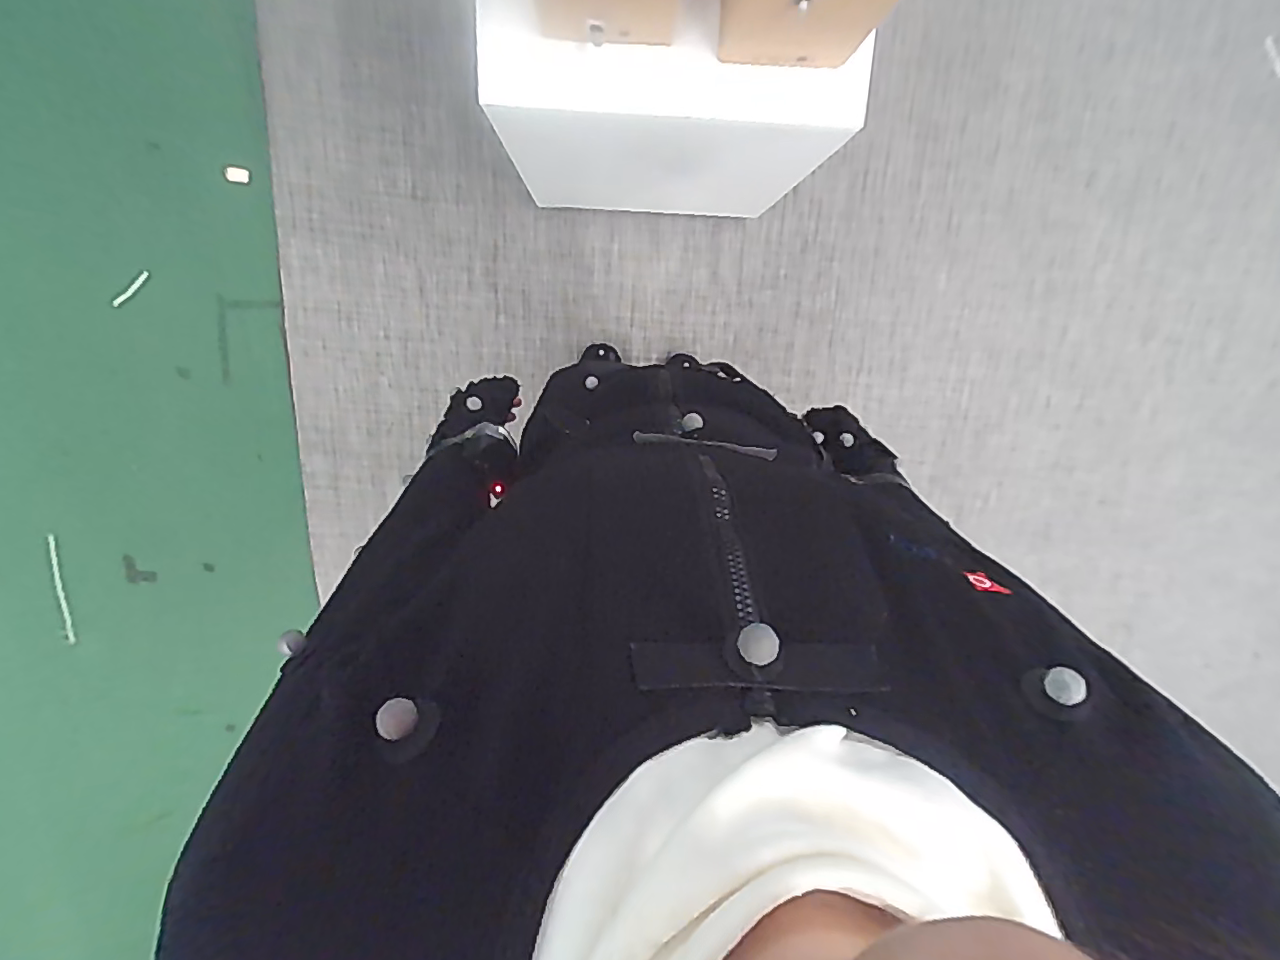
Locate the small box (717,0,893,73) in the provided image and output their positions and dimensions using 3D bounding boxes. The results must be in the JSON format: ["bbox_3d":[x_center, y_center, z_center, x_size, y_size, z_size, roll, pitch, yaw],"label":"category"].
[{"bbox_3d":[0.185,-0.601,0.602,0.168,0.176,0.179,2,103,-3],"label":"small box"}]

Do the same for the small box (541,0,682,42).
[{"bbox_3d":[-0.033,-0.615,0.576,0.168,0.176,0.179,0,105,-2],"label":"small box"}]
